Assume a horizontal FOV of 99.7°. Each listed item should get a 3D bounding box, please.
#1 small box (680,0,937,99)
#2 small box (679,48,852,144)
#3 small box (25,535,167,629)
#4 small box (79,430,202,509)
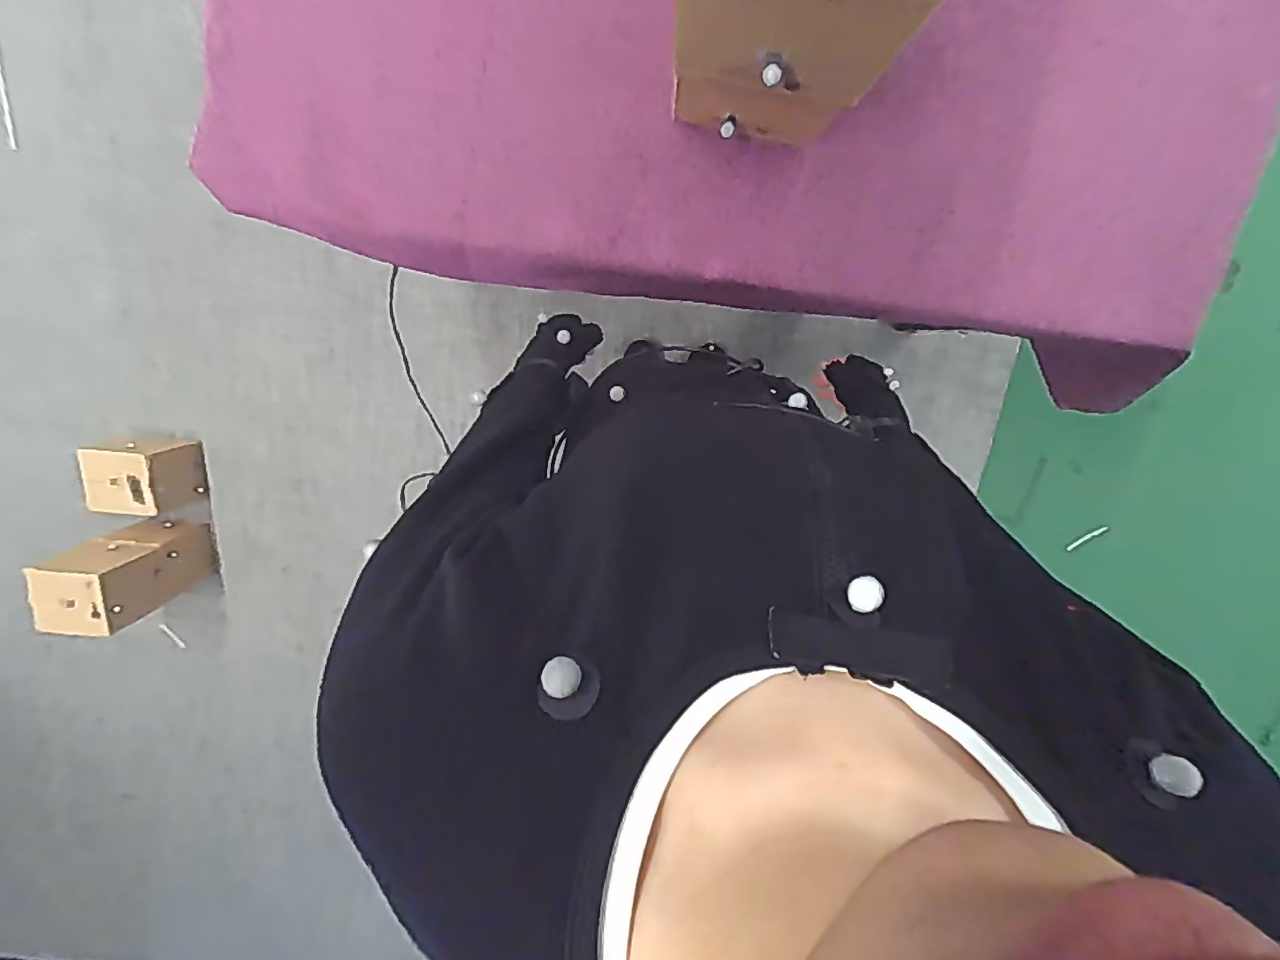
[{"bbox_3d":[0.123,-0.409,0.374,0.168,0.176,0.179,11,105,0],"label":"small box"},{"bbox_3d":[0.134,-0.466,0.528,0.168,0.176,0.179,12,106,-1],"label":"small box"},{"bbox_3d":[-1.334,0.246,1.338,0.179,0.176,0.168,7,106,0],"label":"small box"},{"bbox_3d":[-1.302,-0.033,1.428,0.179,0.176,0.168,6,105,0],"label":"small box"}]
